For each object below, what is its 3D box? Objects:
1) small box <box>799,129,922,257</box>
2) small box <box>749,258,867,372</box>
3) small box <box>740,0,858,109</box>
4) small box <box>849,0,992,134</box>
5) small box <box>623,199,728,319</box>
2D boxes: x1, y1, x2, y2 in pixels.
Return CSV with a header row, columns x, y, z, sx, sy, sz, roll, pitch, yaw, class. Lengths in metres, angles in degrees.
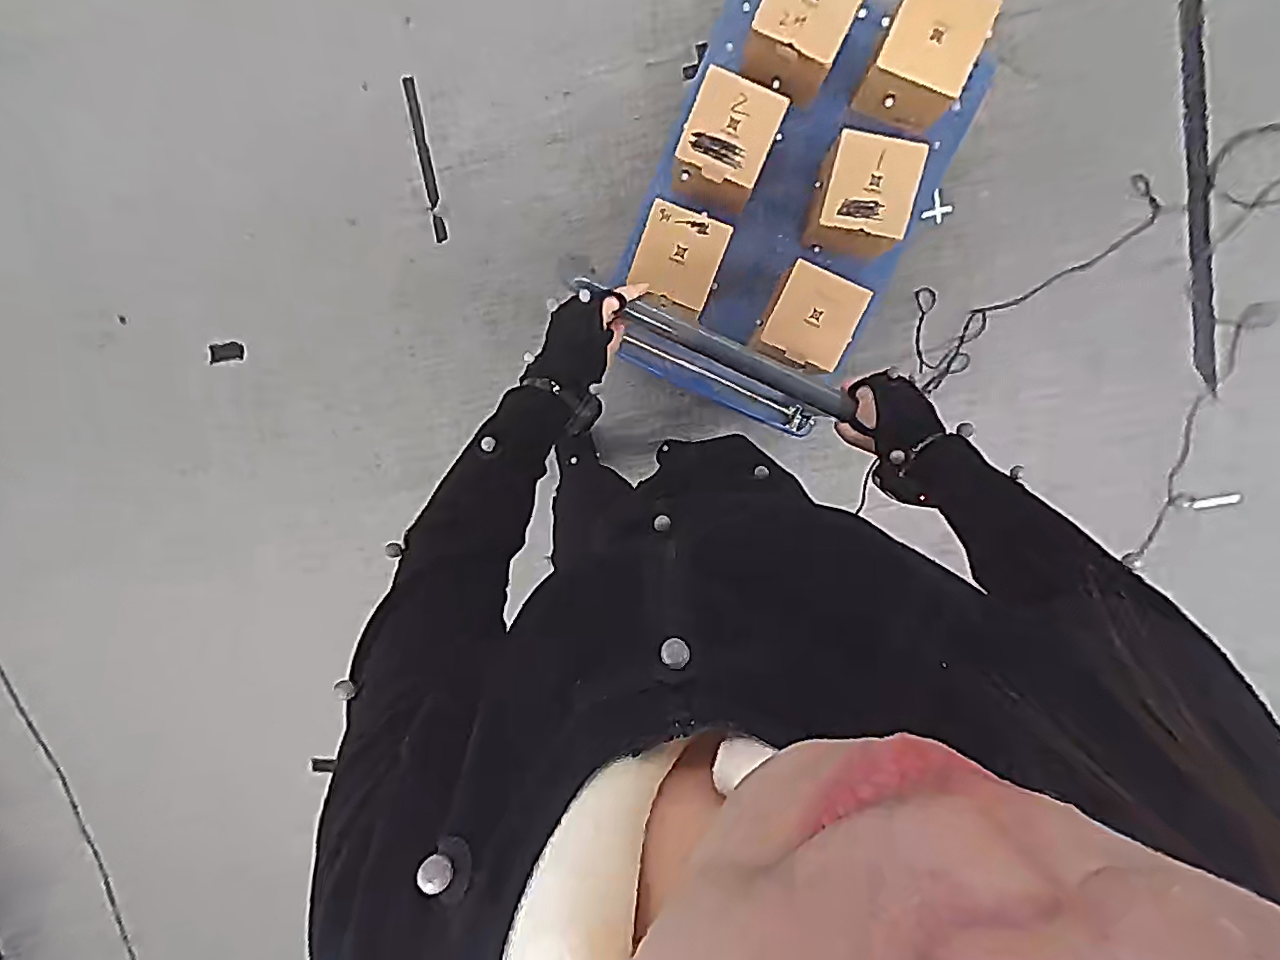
x,y,z,sx,sy,sz,roll,pitch,yaw,class
0.441,-0.578,1.116,0.168,0.176,0.179,13,100,1,small box
0.348,-0.342,1.163,0.168,0.176,0.179,25,99,-2,small box
0.310,-0.890,1.067,0.168,0.176,0.179,26,101,-1,small box
0.537,-0.829,1.068,0.168,0.176,0.179,21,100,-1,small box
0.075,-0.459,1.156,0.168,0.176,0.179,21,101,-1,small box
